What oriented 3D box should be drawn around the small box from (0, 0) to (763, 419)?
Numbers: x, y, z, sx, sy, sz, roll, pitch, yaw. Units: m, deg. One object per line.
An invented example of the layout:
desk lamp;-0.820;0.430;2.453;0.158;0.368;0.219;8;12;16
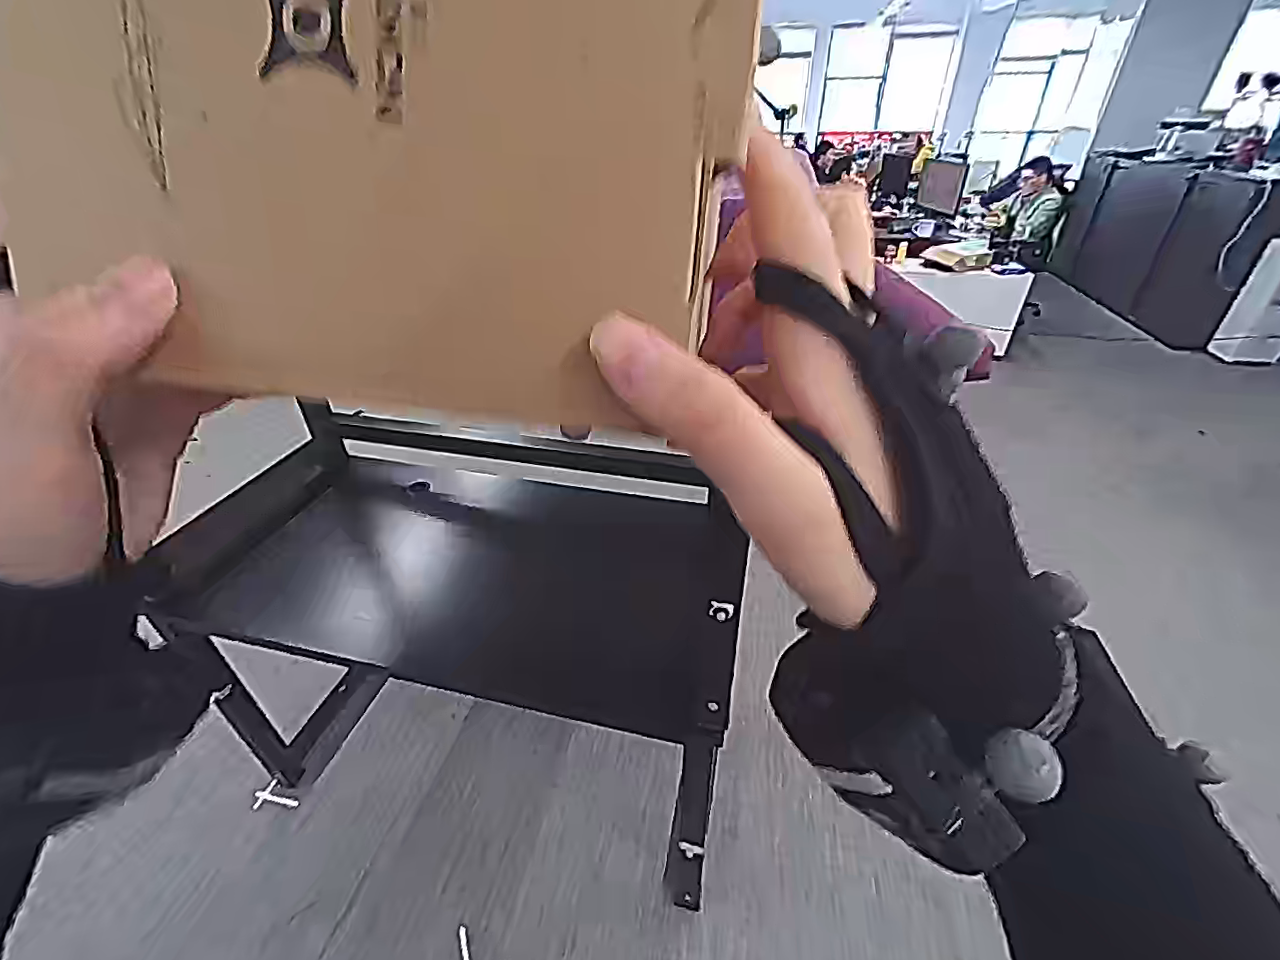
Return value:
small box;-0.053;-0.121;0.191;0.179;0.168;0.176;8;12;6
